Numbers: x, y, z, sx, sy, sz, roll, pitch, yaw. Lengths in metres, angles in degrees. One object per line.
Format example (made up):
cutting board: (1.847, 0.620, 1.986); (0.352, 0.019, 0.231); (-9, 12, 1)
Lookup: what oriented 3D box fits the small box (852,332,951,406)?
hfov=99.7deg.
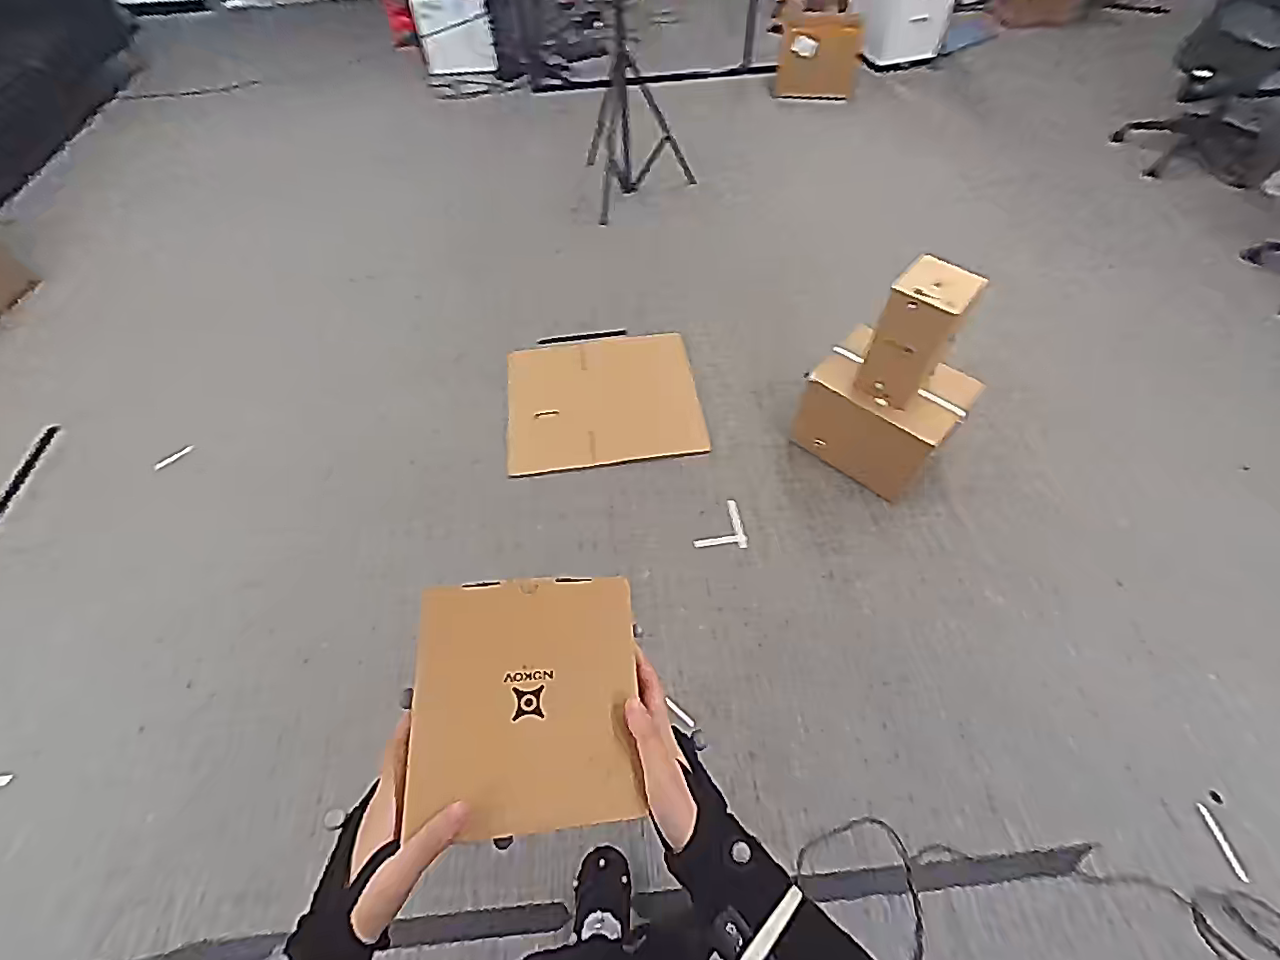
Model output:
small box: (0.723, -0.344, 1.516); (0.168, 0.176, 0.179); (36, 65, 23)

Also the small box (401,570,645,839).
small box: (-0.093, 0.189, 0.470); (0.168, 0.176, 0.179); (-1, 63, -10)

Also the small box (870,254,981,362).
small box: (0.719, -0.438, 1.381); (0.168, 0.176, 0.179); (36, 63, 24)
